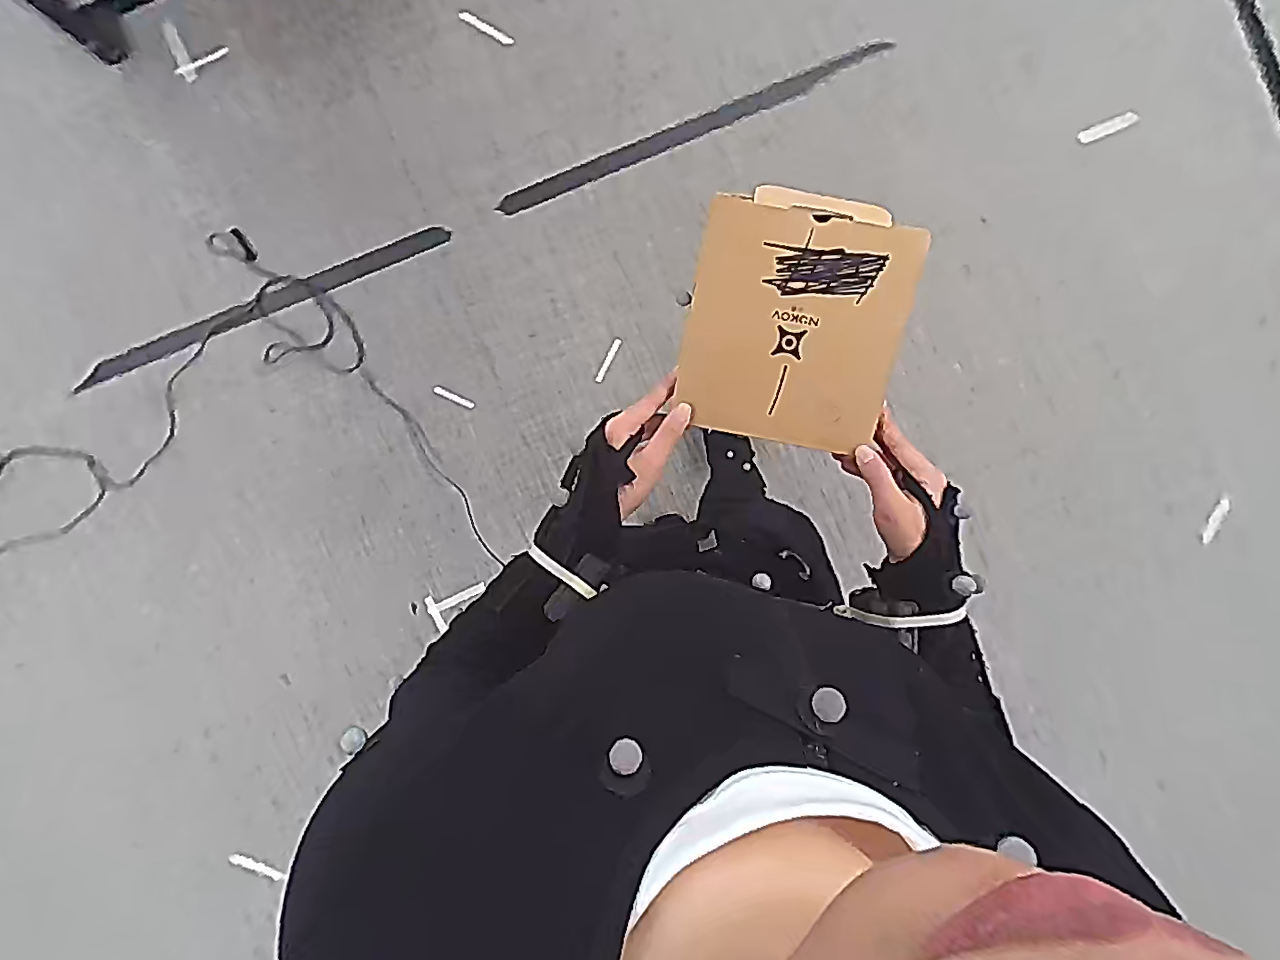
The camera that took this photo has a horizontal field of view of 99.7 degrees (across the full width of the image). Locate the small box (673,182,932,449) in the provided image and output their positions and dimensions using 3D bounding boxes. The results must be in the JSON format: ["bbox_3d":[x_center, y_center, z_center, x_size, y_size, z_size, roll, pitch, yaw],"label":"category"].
[{"bbox_3d":[0.125,-0.140,0.491,0.168,0.176,0.179,10,104,2],"label":"small box"}]

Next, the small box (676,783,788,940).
[{"bbox_3d":[0.181,0.775,1.115,0.168,0.176,0.179,-21,92,0],"label":"small box"}]

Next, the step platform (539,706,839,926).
[{"bbox_3d":[0.110,0.817,1.289,0.684,0.204,0.286,-23,92,0],"label":"step platform"}]

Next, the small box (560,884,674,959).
[{"bbox_3d":[-0.037,0.867,0.954,0.179,0.176,0.168,-20,92,1],"label":"small box"}]
